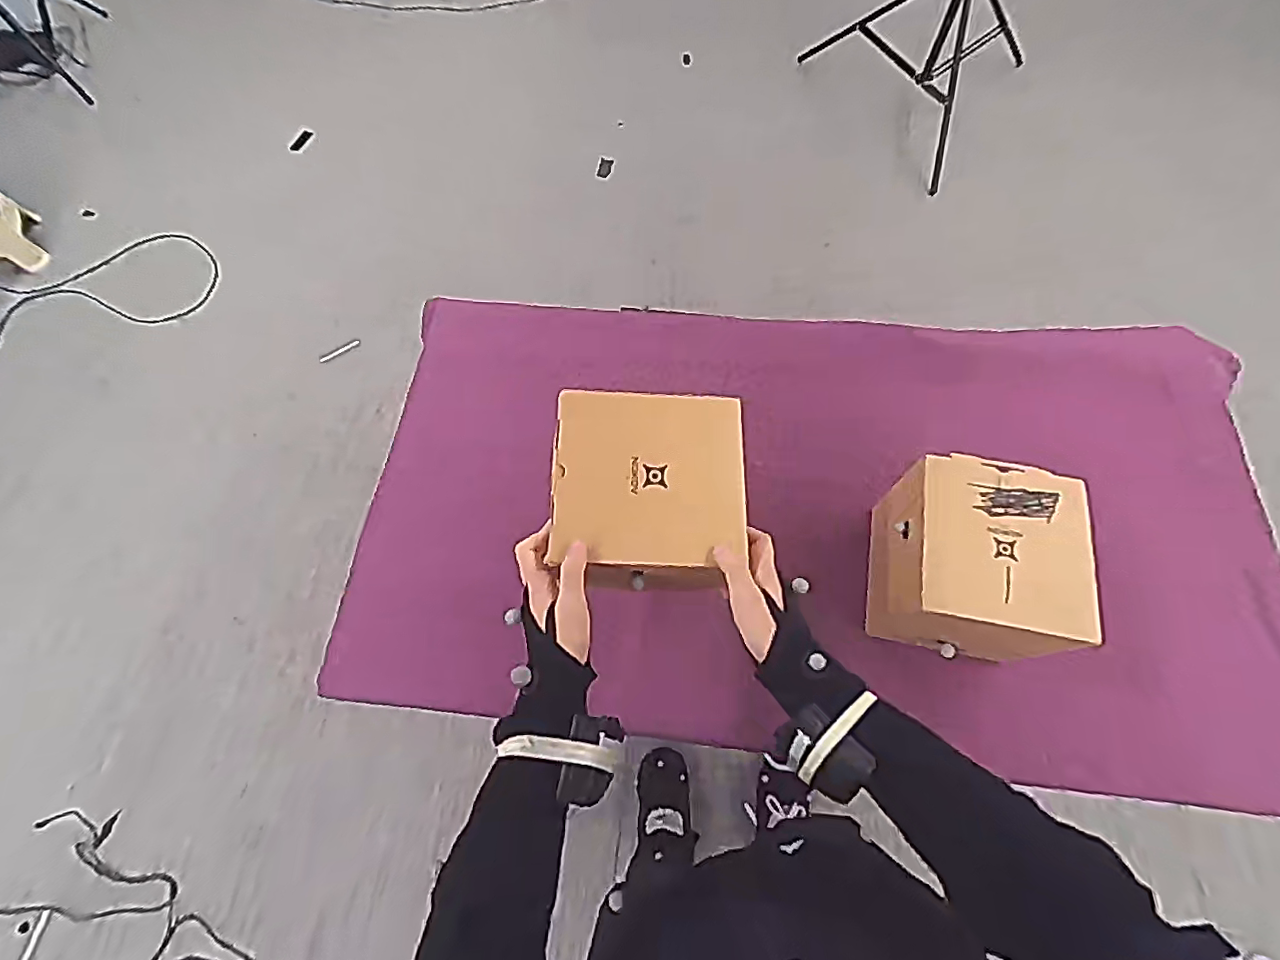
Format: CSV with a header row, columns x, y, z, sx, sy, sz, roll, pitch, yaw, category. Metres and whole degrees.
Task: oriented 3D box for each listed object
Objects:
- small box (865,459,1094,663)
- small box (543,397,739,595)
x,y,z,sx,sy,sz,roll,pitch,yaw,category
0.374,0.100,0.629,0.168,0.176,0.179,10,67,8,small box
-0.001,0.027,0.573,0.179,0.176,0.168,2,70,-3,small box
